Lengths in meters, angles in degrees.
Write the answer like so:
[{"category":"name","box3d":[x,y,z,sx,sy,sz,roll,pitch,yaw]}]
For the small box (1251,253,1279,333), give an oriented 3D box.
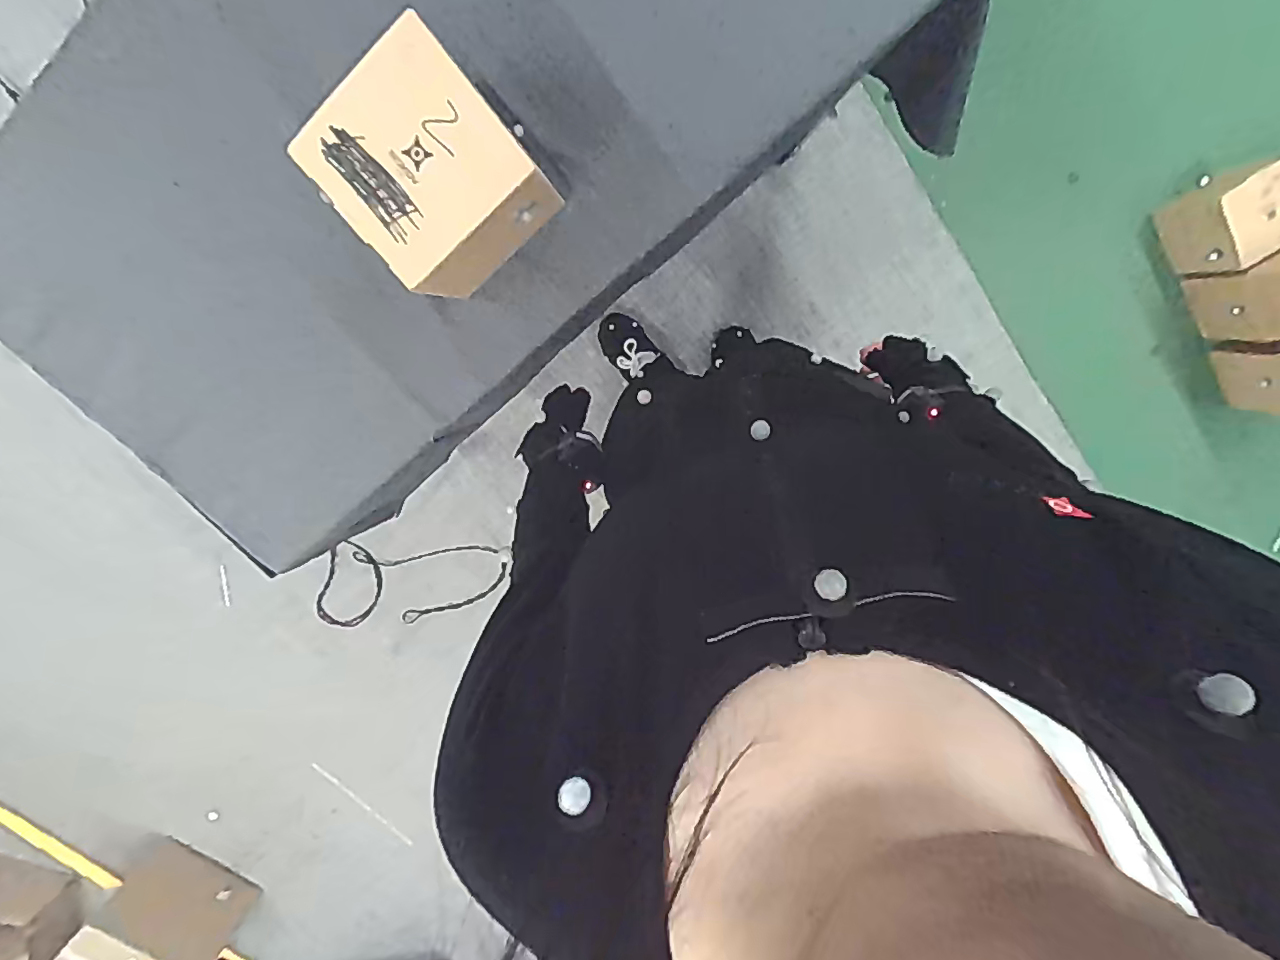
[{"category":"small box","box3d":[1.430,-0.402,1.099,0.168,0.176,0.179,-32,102,12]}]
